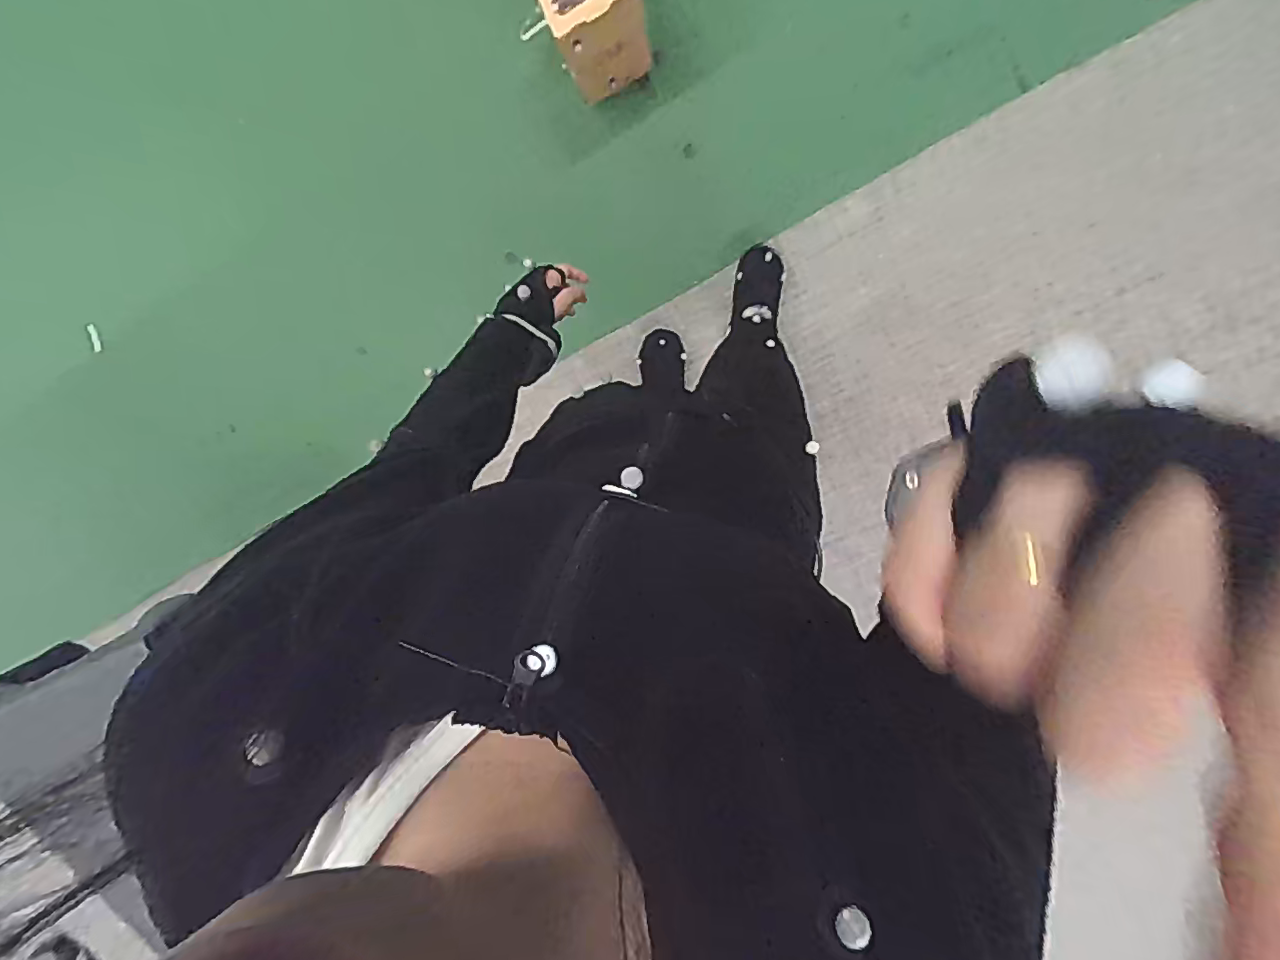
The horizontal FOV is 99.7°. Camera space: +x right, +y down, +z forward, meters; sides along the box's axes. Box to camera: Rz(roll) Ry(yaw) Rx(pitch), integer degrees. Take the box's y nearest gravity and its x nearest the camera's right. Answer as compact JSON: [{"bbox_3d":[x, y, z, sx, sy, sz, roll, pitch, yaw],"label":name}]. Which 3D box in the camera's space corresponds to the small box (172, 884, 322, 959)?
[{"bbox_3d":[-0.756,0.917,1.022,0.179,0.176,0.168,-25,104,13],"label":"small box"}]

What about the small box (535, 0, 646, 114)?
[{"bbox_3d":[-0.097,-0.927,1.146,0.168,0.176,0.179,-23,104,11],"label":"small box"}]
